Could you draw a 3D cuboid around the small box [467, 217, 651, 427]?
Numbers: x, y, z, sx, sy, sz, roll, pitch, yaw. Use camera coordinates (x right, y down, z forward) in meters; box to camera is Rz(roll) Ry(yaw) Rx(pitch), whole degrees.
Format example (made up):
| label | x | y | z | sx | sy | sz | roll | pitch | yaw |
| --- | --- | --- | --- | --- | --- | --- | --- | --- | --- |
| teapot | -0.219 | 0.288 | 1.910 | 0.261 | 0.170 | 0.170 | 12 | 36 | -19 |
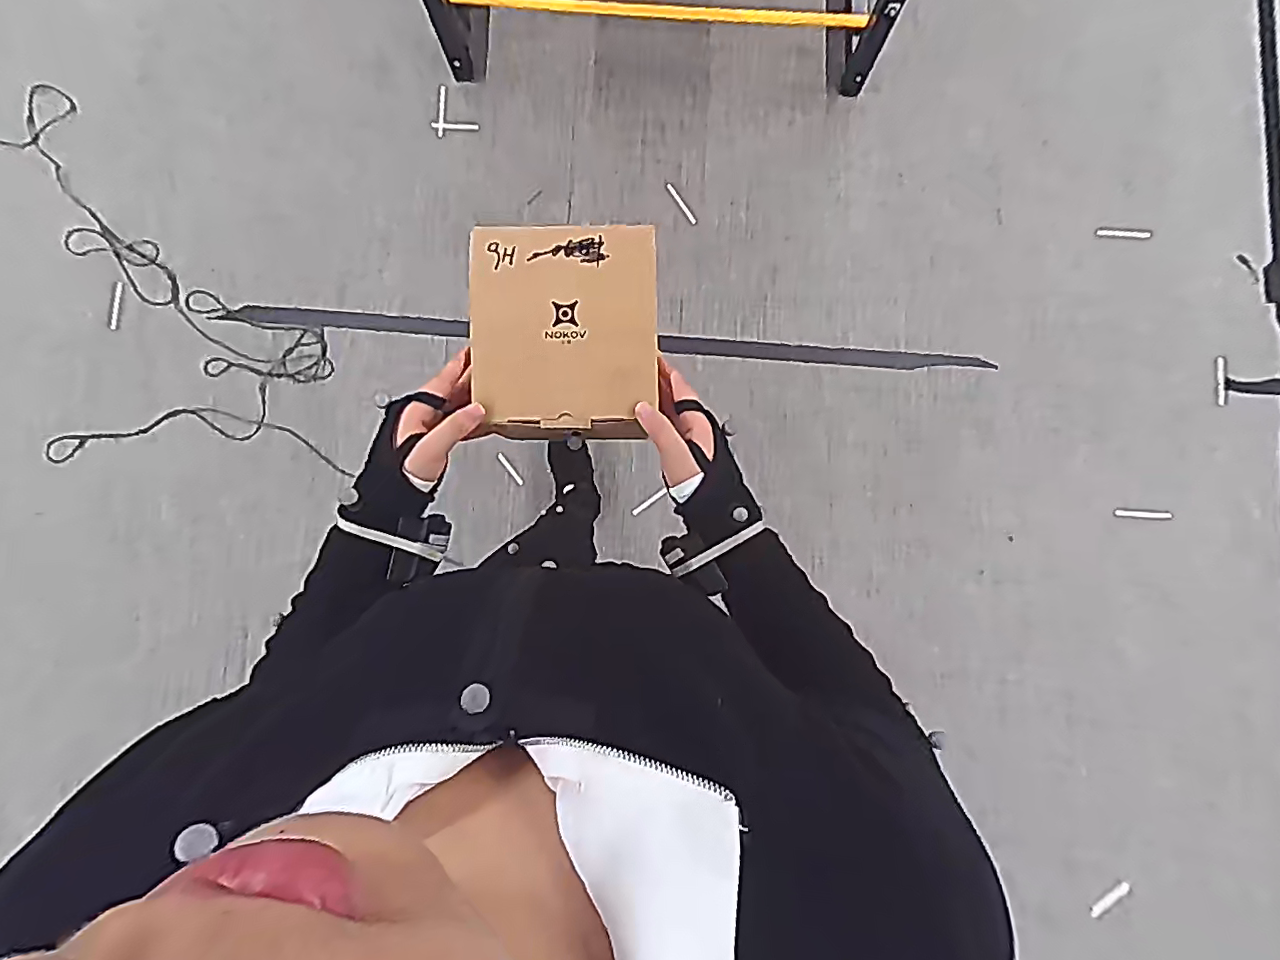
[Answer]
| label | x | y | z | sx | sy | sz | roll | pitch | yaw |
| --- | --- | --- | --- | --- | --- | --- | --- | --- | --- |
| small box | -0.072 | -0.146 | 0.561 | 0.168 | 0.176 | 0.179 | -1 | 90 | -1 |
